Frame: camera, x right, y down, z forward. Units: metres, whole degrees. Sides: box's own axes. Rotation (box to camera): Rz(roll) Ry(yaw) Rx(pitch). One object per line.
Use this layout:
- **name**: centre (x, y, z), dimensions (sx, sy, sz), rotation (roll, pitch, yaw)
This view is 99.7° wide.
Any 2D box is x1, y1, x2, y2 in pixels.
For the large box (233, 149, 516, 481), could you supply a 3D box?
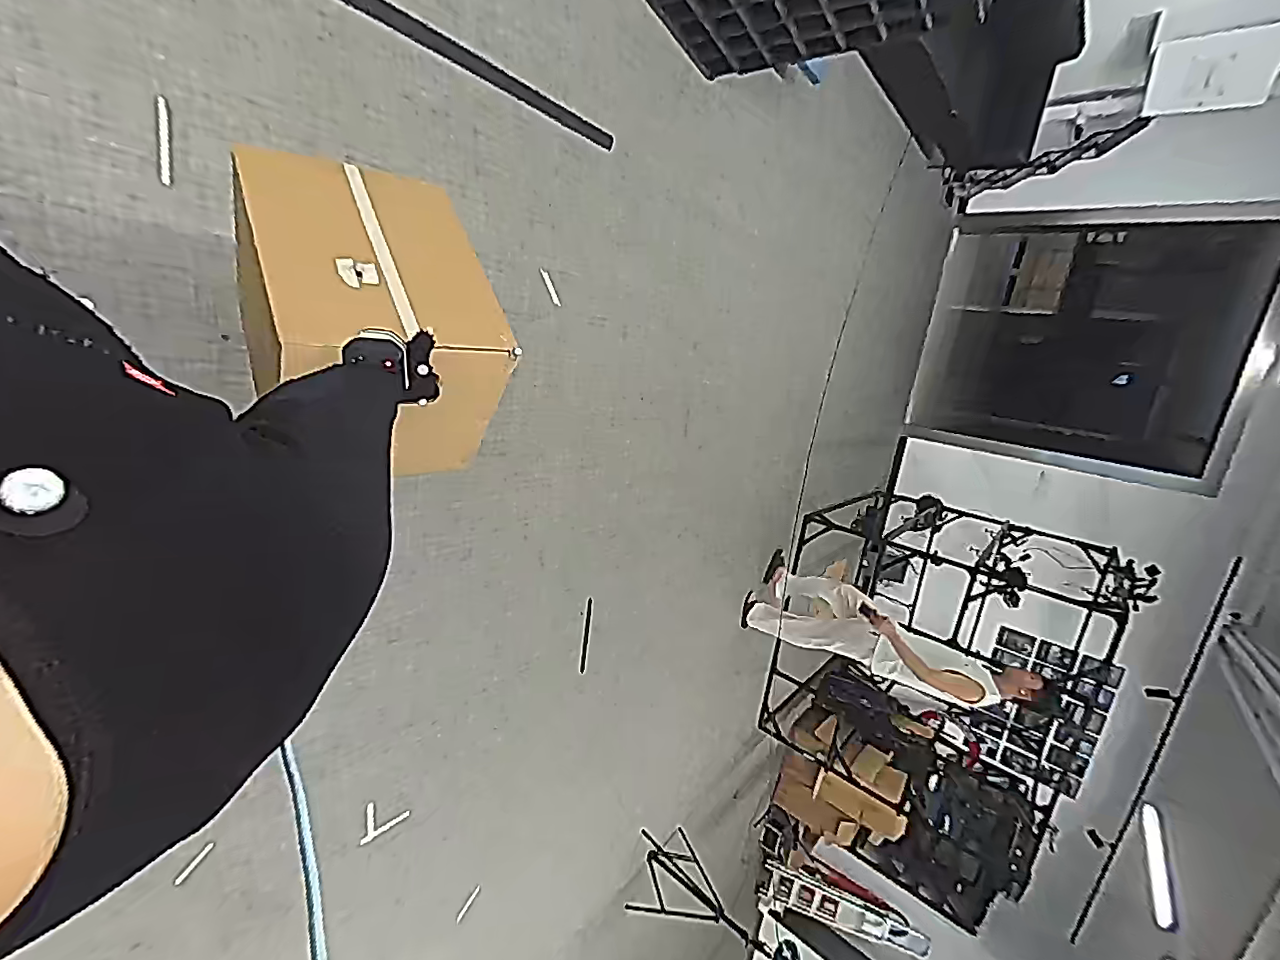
- **large box**: centre (-0.467, -0.258, 0.920), dimensions (0.320, 0.408, 0.320), rotation (-9, 153, -39)
